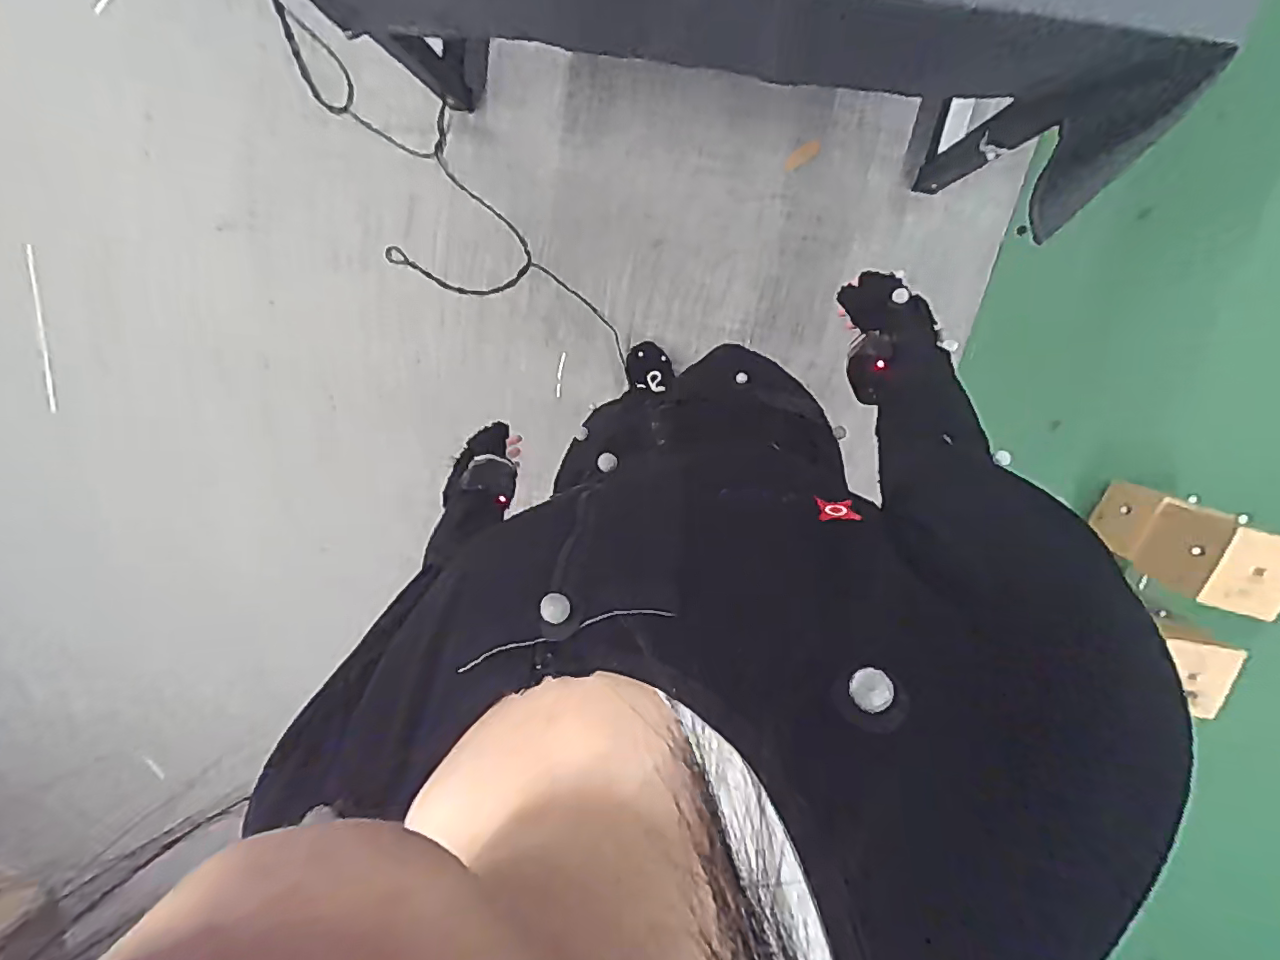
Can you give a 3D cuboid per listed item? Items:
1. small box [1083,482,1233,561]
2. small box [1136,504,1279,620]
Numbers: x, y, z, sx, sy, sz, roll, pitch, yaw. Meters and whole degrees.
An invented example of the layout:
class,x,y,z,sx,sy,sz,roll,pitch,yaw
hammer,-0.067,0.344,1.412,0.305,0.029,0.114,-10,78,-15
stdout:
class,x,y,z,sx,sy,sz,roll,pitch,yaw
small box,1.259,0.115,1.333,0.179,0.176,0.168,16,106,0
small box,1.252,0.169,1.177,0.168,0.176,0.179,15,106,1
